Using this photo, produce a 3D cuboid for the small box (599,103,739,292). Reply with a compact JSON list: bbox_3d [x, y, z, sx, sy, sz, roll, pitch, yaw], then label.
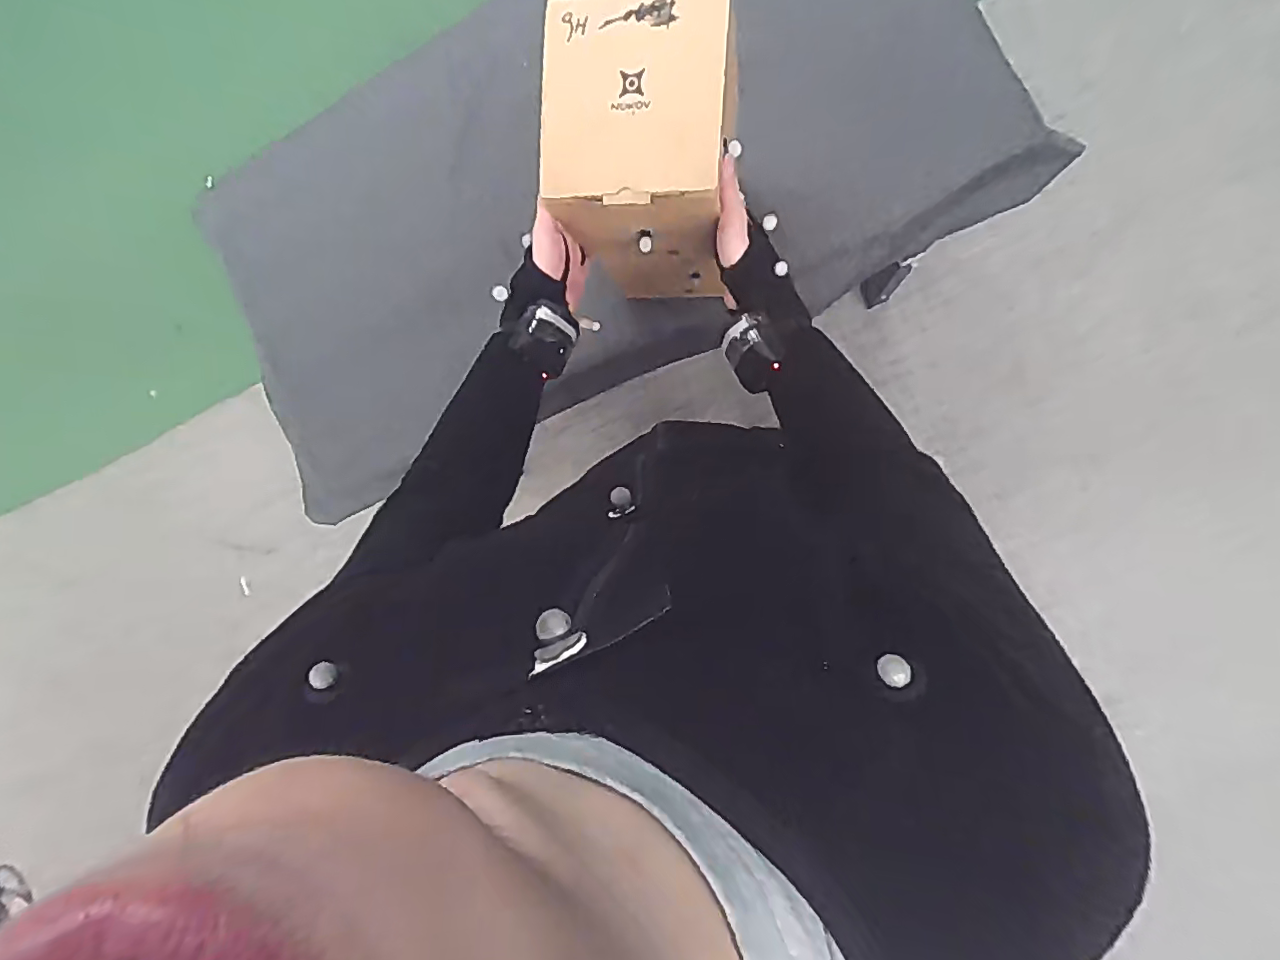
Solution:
[{"bbox_3d":[0.047,-0.363,0.732,0.168,0.176,0.179,3,90,10],"label":"small box"}]
